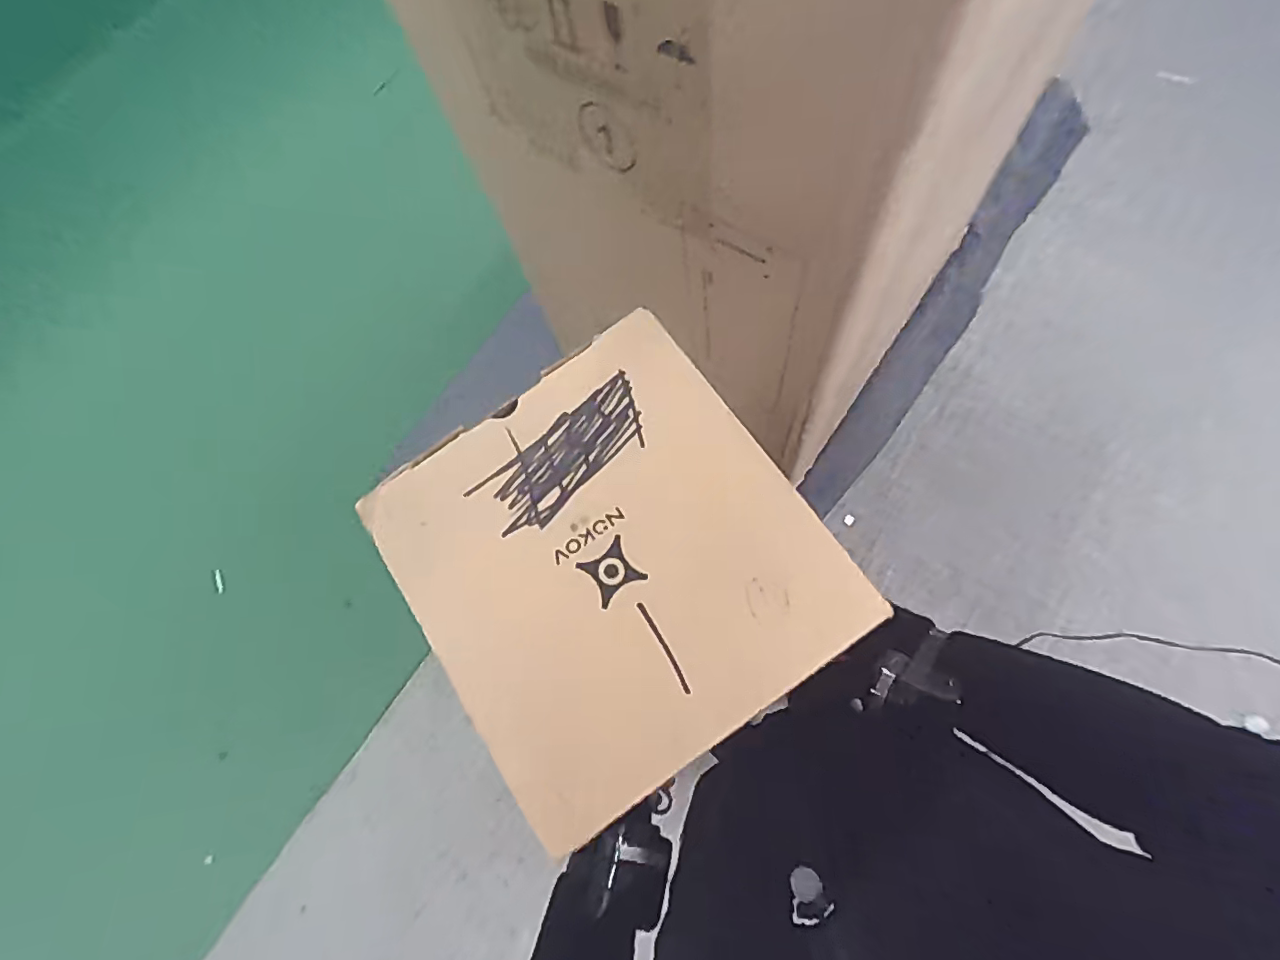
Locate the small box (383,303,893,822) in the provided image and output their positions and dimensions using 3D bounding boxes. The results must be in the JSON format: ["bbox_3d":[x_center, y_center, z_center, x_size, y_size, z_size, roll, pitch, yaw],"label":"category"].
[{"bbox_3d":[-0.001,0.044,0.315,0.168,0.176,0.179,-35,75,-3],"label":"small box"}]
